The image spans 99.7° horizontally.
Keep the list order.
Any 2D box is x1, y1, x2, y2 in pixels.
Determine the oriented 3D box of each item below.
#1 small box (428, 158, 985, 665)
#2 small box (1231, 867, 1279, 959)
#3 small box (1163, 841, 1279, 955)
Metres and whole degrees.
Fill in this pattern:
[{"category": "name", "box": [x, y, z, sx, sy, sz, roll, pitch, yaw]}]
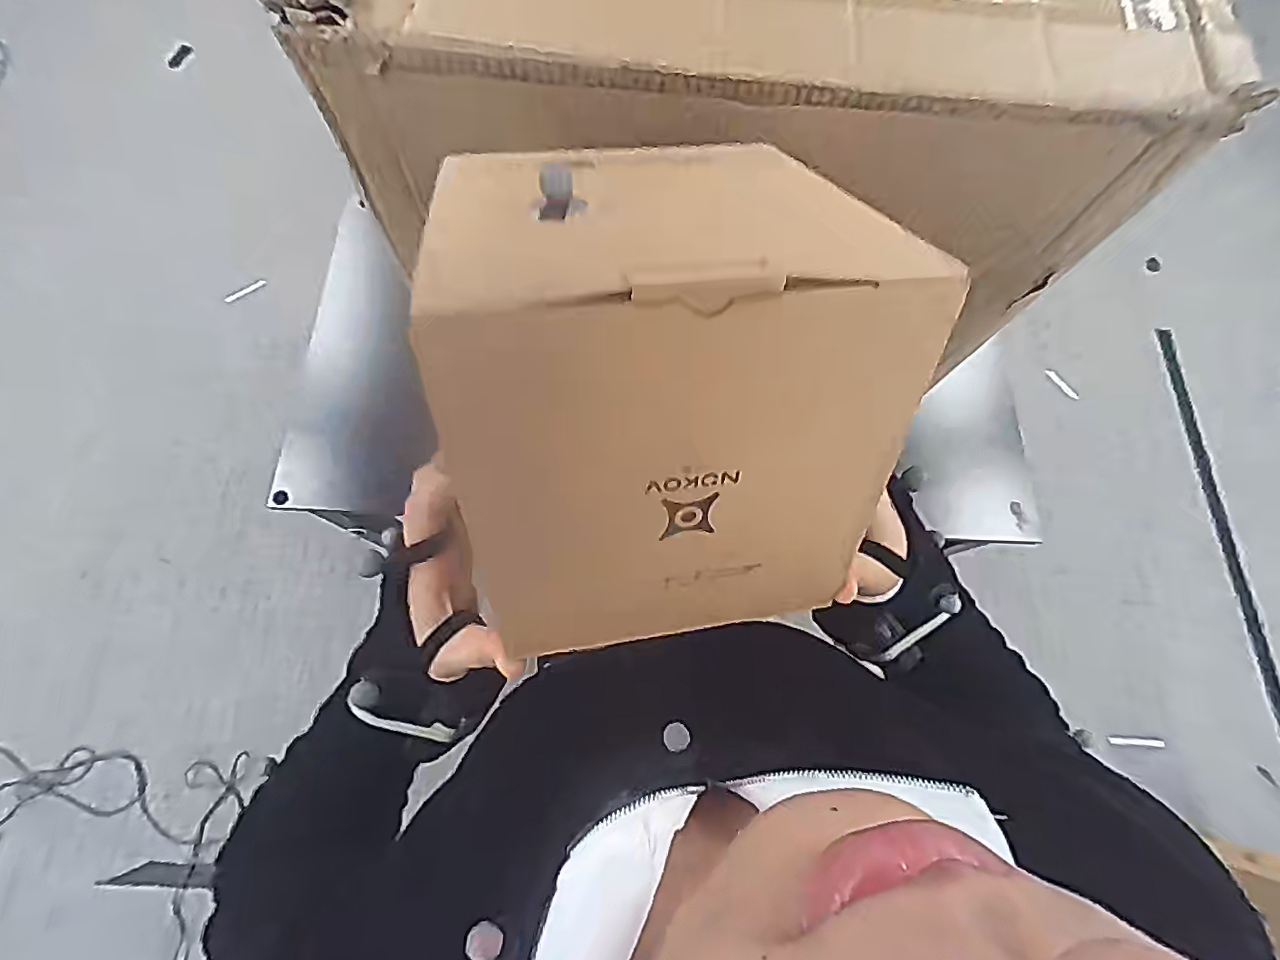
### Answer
[{"category": "small box", "box": [0.007, -0.042, 0.260, 0.168, 0.179, 0.176, -7, 44, -8]}, {"category": "small box", "box": [1.419, 0.932, 1.125, 0.179, 0.176, 0.168, 4, 72, -1]}, {"category": "small box", "box": [1.411, 0.978, 1.283, 0.168, 0.176, 0.179, 0, 73, -3]}]
